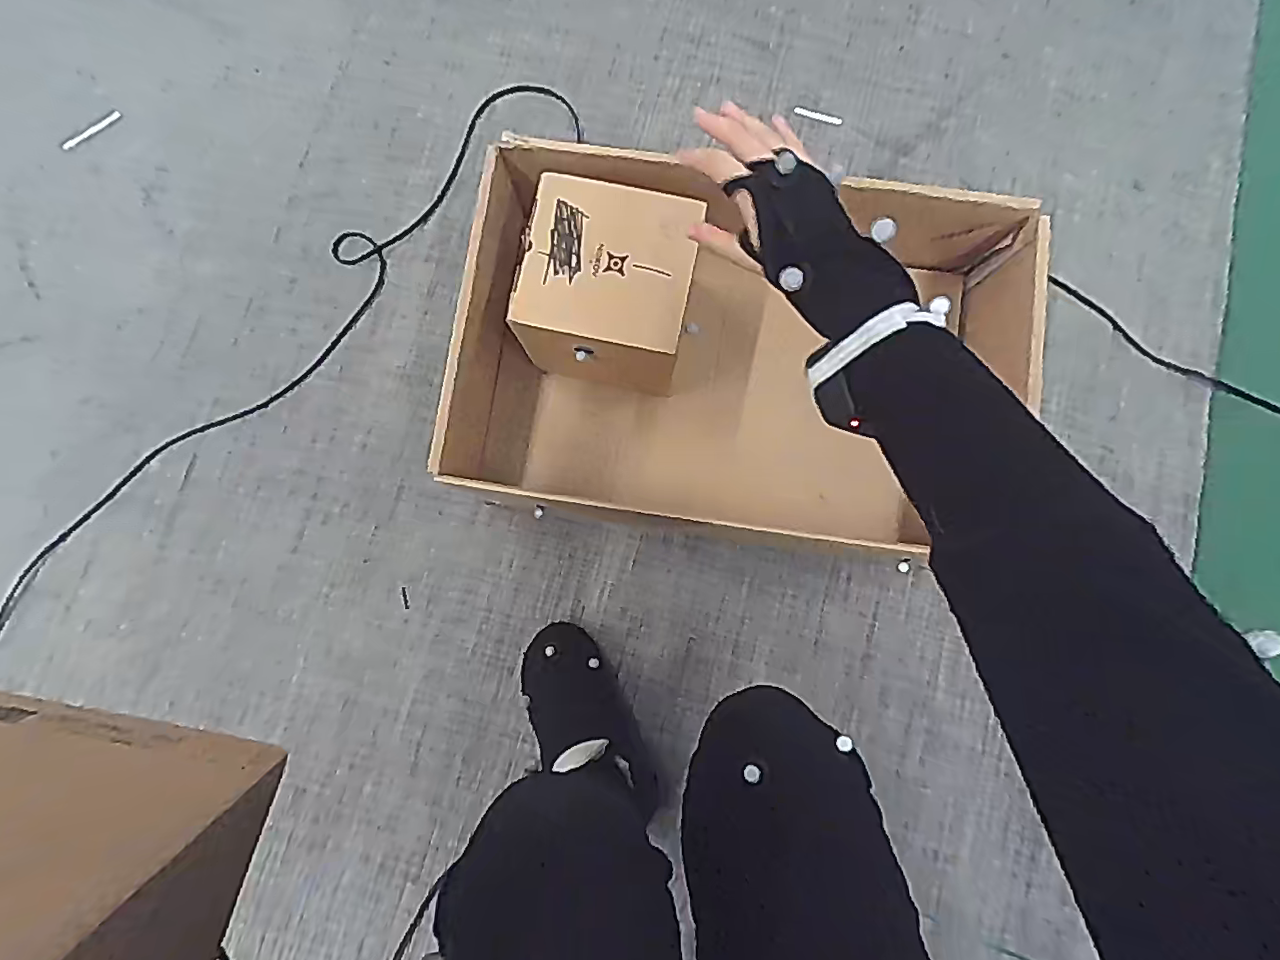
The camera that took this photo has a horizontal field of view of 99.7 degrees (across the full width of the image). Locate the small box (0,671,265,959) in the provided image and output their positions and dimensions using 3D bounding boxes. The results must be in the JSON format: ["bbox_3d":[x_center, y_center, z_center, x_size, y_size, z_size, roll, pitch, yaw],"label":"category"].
[{"bbox_3d":[-0.245,0.168,0.144,0.168,0.176,0.179,18,80,-10],"label":"small box"}]
